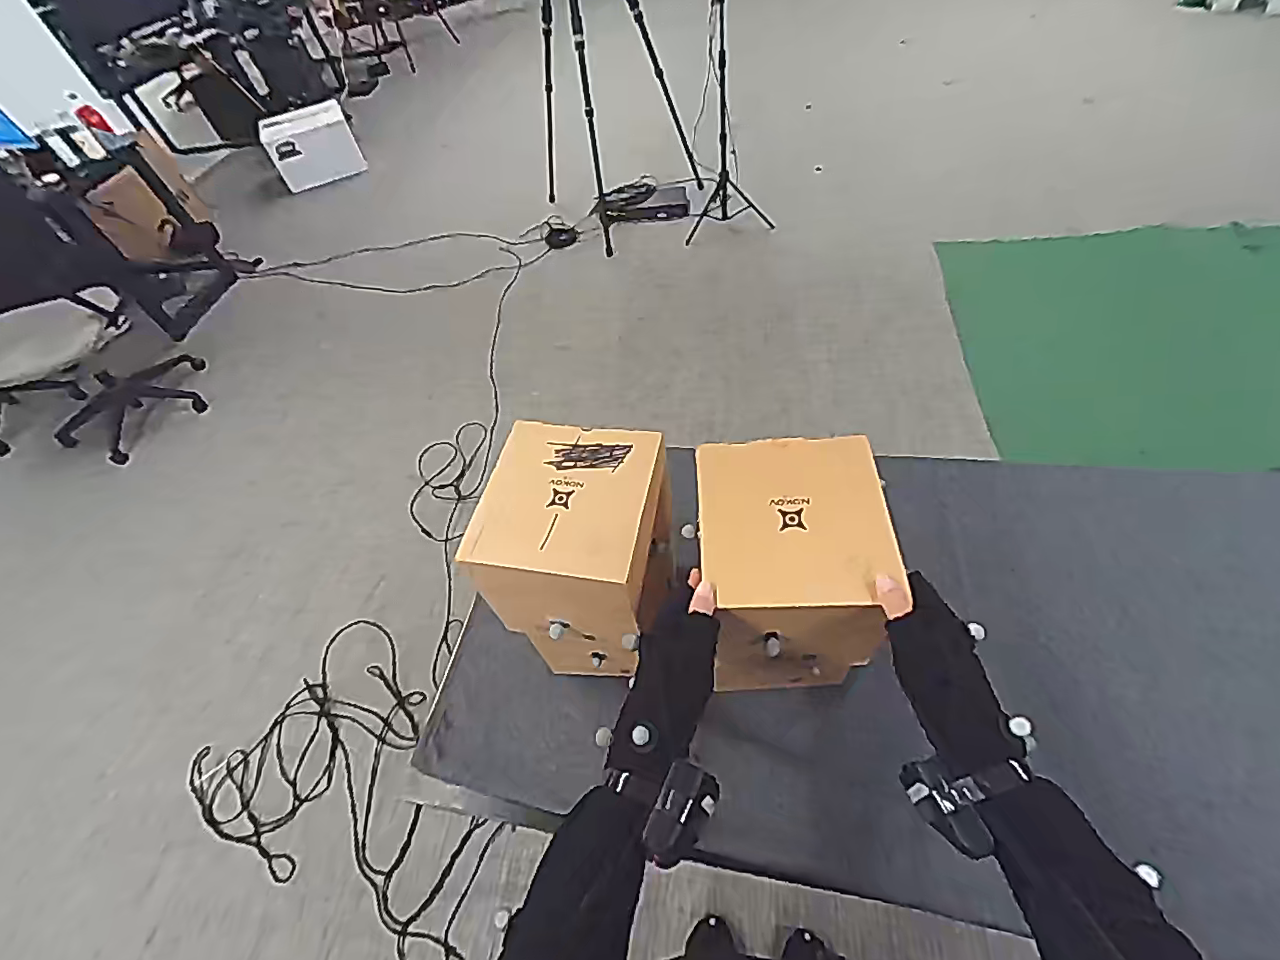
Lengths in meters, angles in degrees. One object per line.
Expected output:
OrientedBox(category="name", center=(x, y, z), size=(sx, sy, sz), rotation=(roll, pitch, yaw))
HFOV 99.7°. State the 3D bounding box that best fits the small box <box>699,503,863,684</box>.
OrientedBox(category="small box", center=(0.166, 0.151, 0.689), size=(0.168, 0.176, 0.179), rotation=(-5, 51, 4))
